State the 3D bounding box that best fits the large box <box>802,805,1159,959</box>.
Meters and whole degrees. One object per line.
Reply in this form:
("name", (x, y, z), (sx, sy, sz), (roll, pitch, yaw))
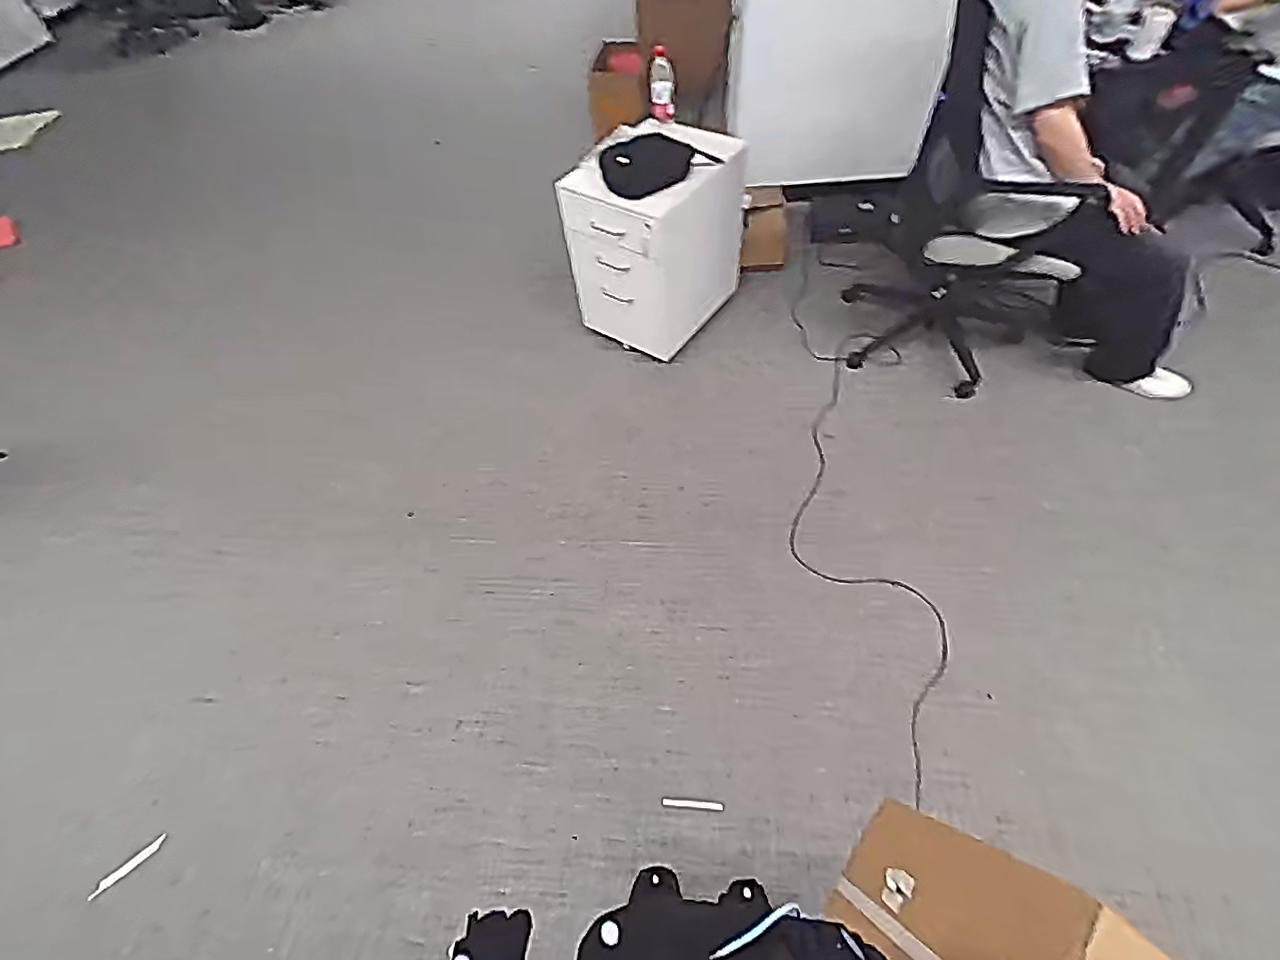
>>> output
("large box", (0.462, 0.692, 0.672), (0.320, 0.408, 0.320), (38, 73, 7))
